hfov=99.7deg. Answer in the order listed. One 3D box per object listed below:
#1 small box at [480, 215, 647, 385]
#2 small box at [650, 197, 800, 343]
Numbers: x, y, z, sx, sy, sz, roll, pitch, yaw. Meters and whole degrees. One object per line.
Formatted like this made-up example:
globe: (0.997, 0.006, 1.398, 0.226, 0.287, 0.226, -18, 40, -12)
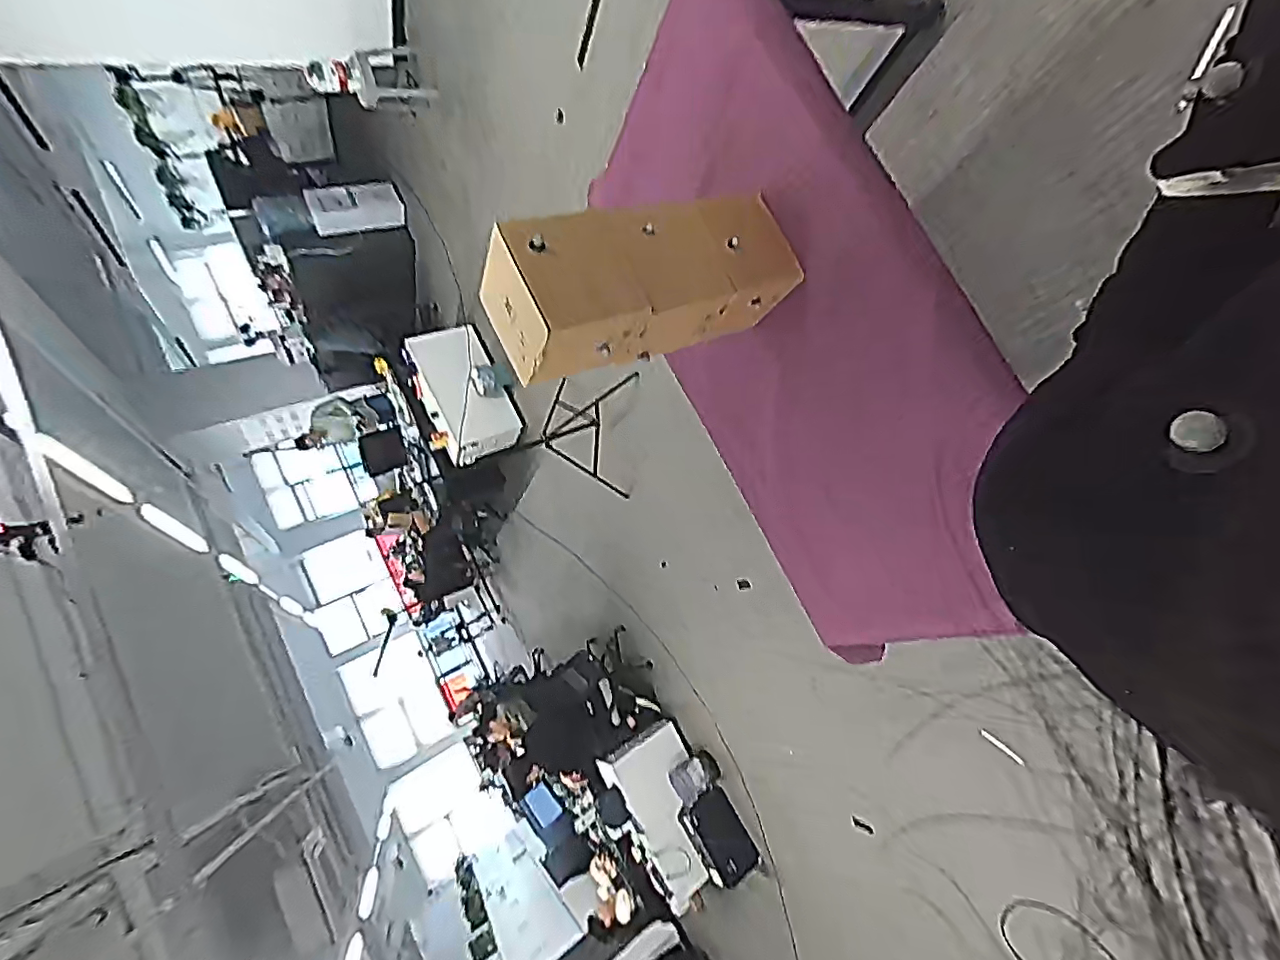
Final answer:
small box: (-0.118, -0.272, 0.814, 0.179, 0.176, 0.168, 63, 152, 6)
small box: (0.152, -0.378, 0.969, 0.179, 0.176, 0.168, 64, 151, 7)
